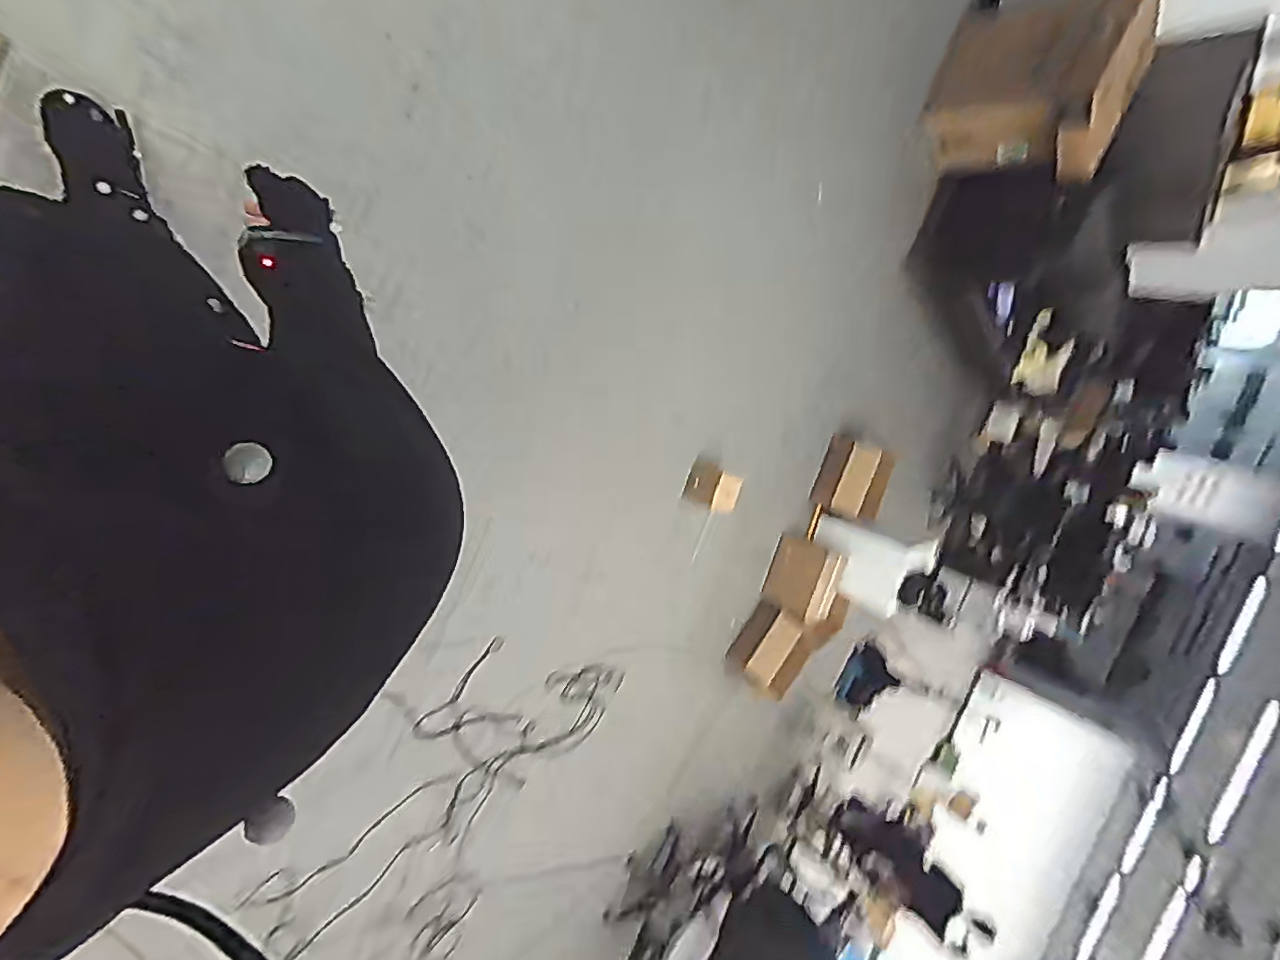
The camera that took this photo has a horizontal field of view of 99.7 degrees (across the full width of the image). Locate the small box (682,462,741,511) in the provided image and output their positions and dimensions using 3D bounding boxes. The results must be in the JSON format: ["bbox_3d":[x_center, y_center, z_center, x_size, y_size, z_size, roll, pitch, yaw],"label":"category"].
[{"bbox_3d":[0.320,0.027,2.446,0.179,0.176,0.168,13,98,-47],"label":"small box"}]
